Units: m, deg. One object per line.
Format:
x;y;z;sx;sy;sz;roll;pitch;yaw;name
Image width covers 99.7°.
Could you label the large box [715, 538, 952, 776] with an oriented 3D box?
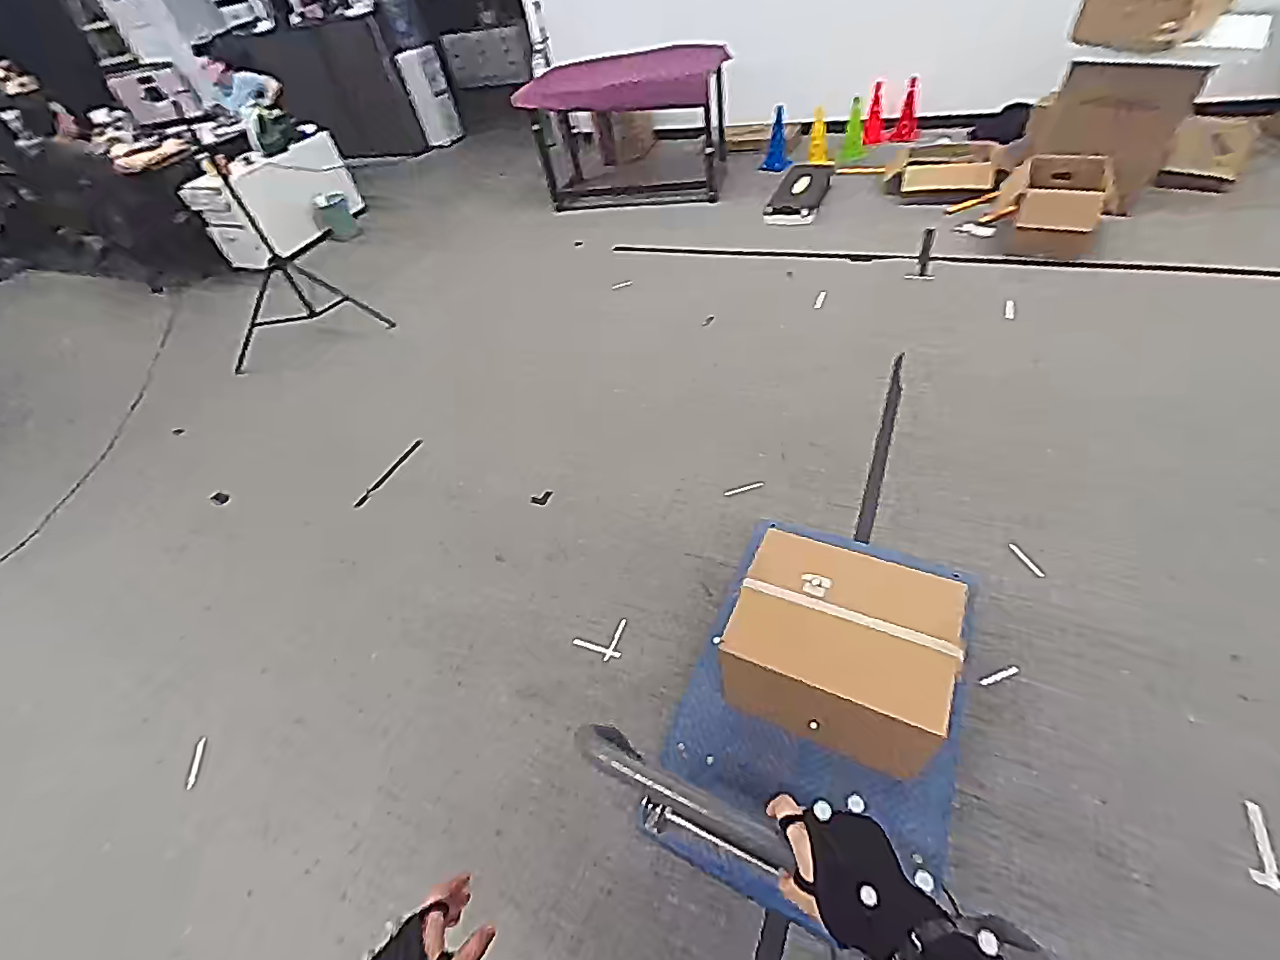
0.415;0.380;1.185;0.408;0.320;0.320;14;52;25;large box
